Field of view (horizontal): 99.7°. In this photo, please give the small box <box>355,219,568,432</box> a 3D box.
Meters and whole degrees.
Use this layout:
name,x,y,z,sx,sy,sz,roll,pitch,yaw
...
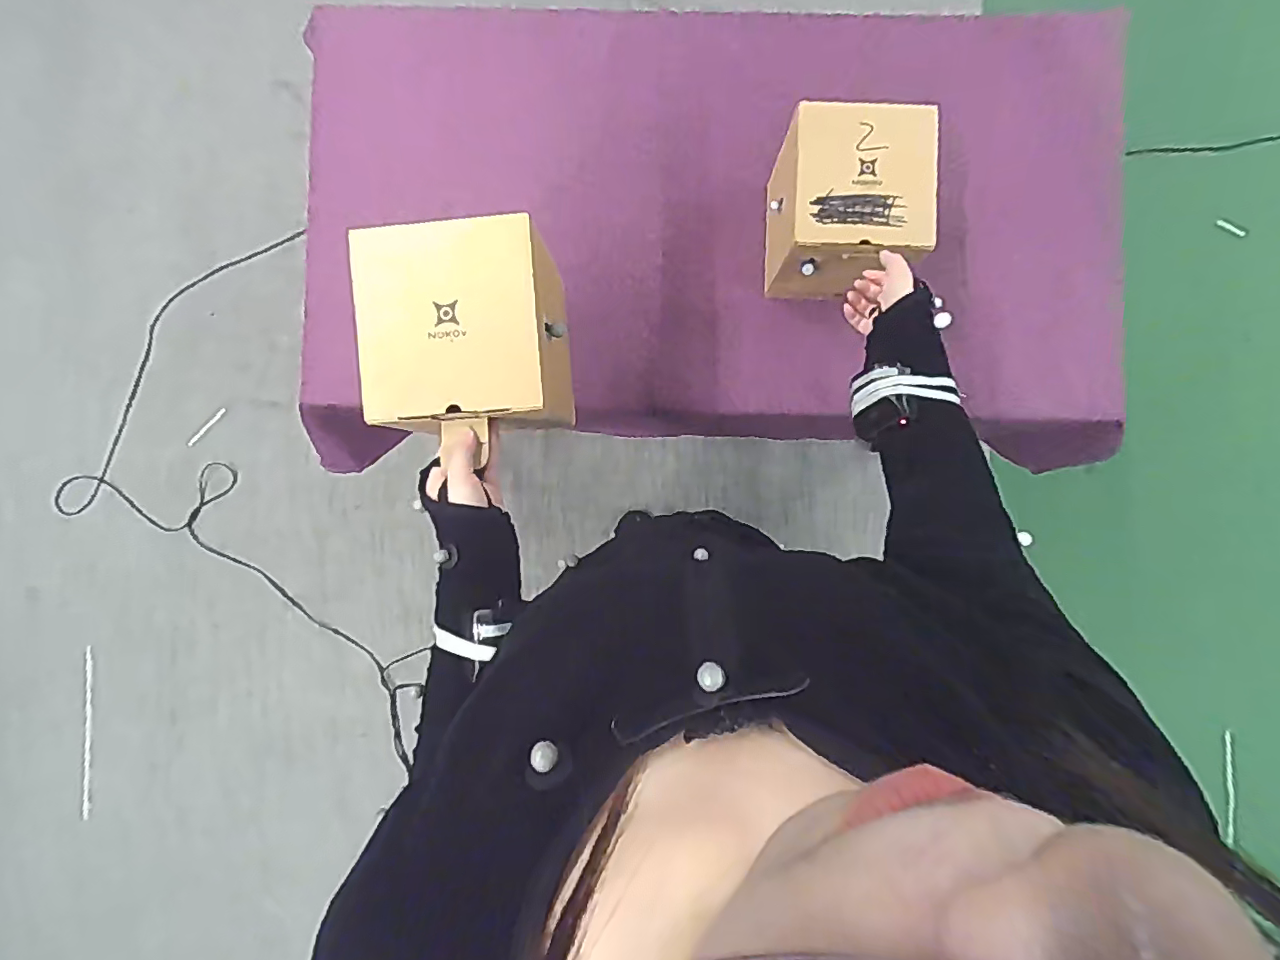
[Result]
name,x,y,z,sx,sy,sz,roll,pitch,yaw
small box,-0.175,-0.149,0.577,0.168,0.176,0.179,-4,91,2
